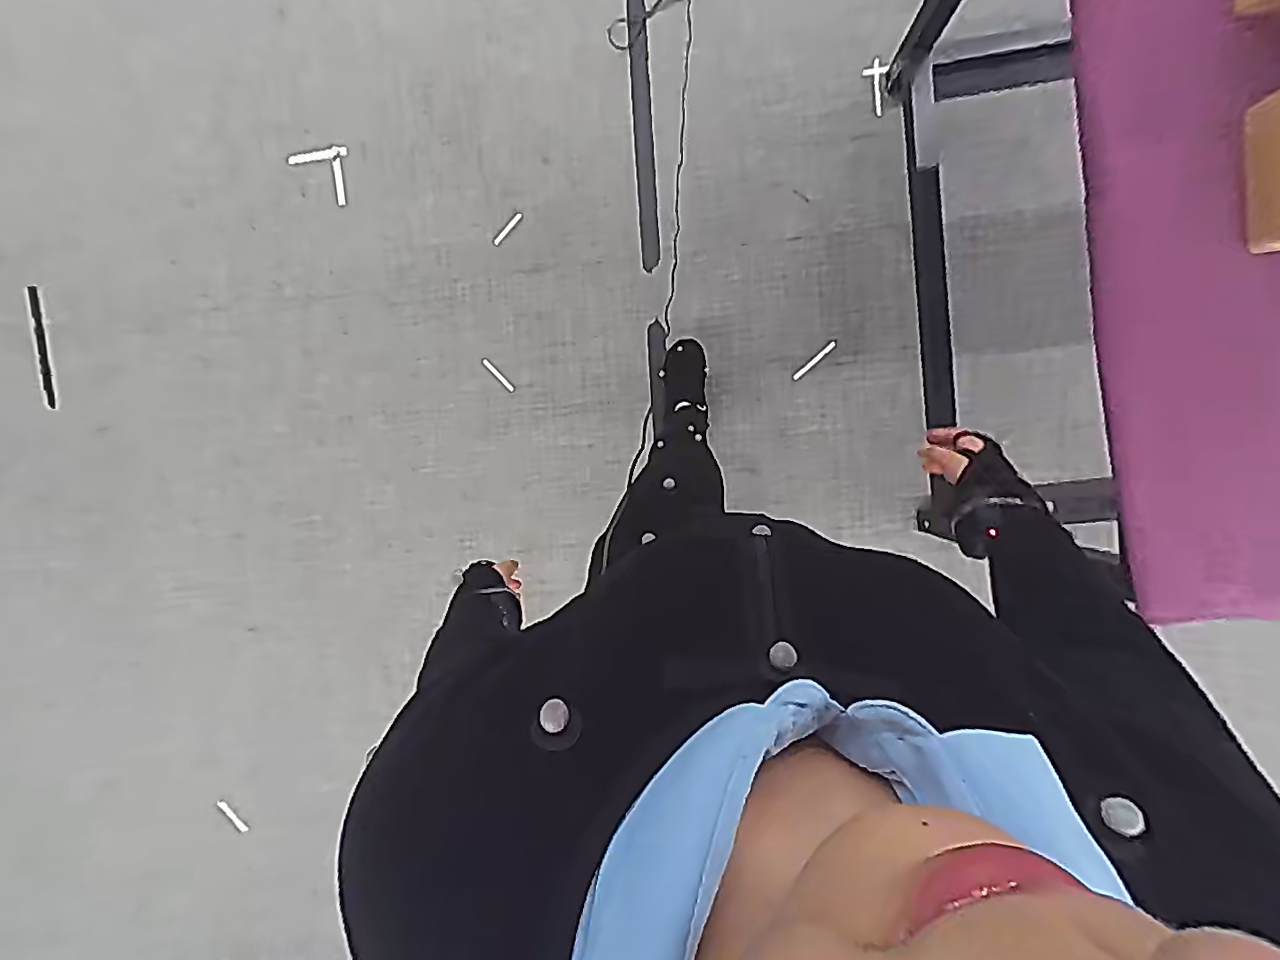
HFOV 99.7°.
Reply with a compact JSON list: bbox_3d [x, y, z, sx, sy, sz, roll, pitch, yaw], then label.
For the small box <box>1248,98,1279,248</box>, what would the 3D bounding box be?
[{"bbox_3d":[0.828,-0.366,0.585,0.168,0.176,0.179,-4,93,5],"label":"small box"}]
